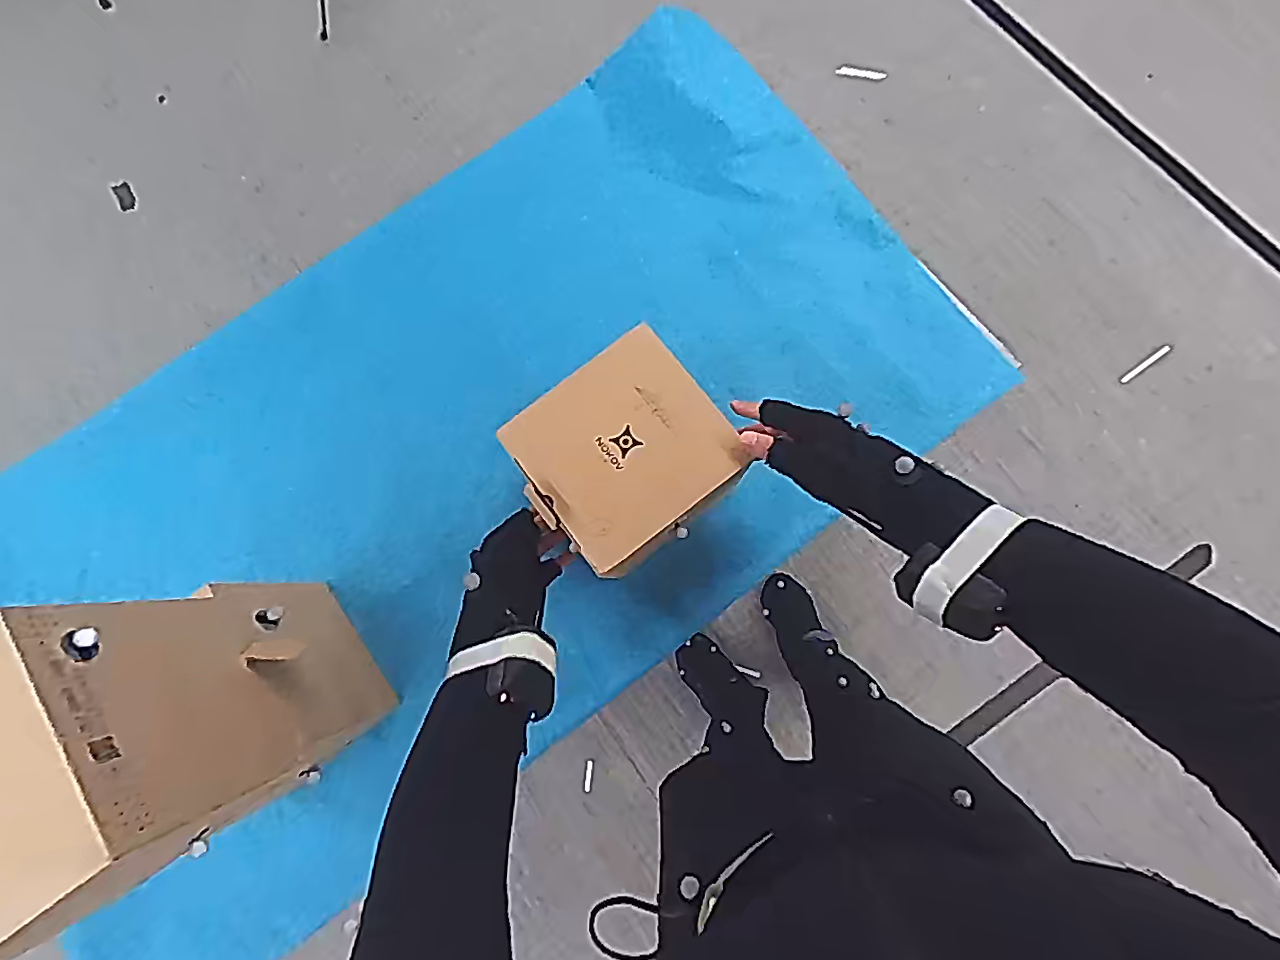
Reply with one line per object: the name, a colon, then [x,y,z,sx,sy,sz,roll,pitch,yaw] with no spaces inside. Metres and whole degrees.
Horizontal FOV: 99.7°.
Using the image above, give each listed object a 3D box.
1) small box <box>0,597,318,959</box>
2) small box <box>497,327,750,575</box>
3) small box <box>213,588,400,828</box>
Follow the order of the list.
small box: [-0.391,0.205,0.386,0.179,0.176,0.168,-36,79,-3]
small box: [-0.010,-0.016,0.562,0.179,0.176,0.168,-37,80,-2]
small box: [-0.389,0.226,0.552,0.168,0.176,0.179,-35,82,-1]
